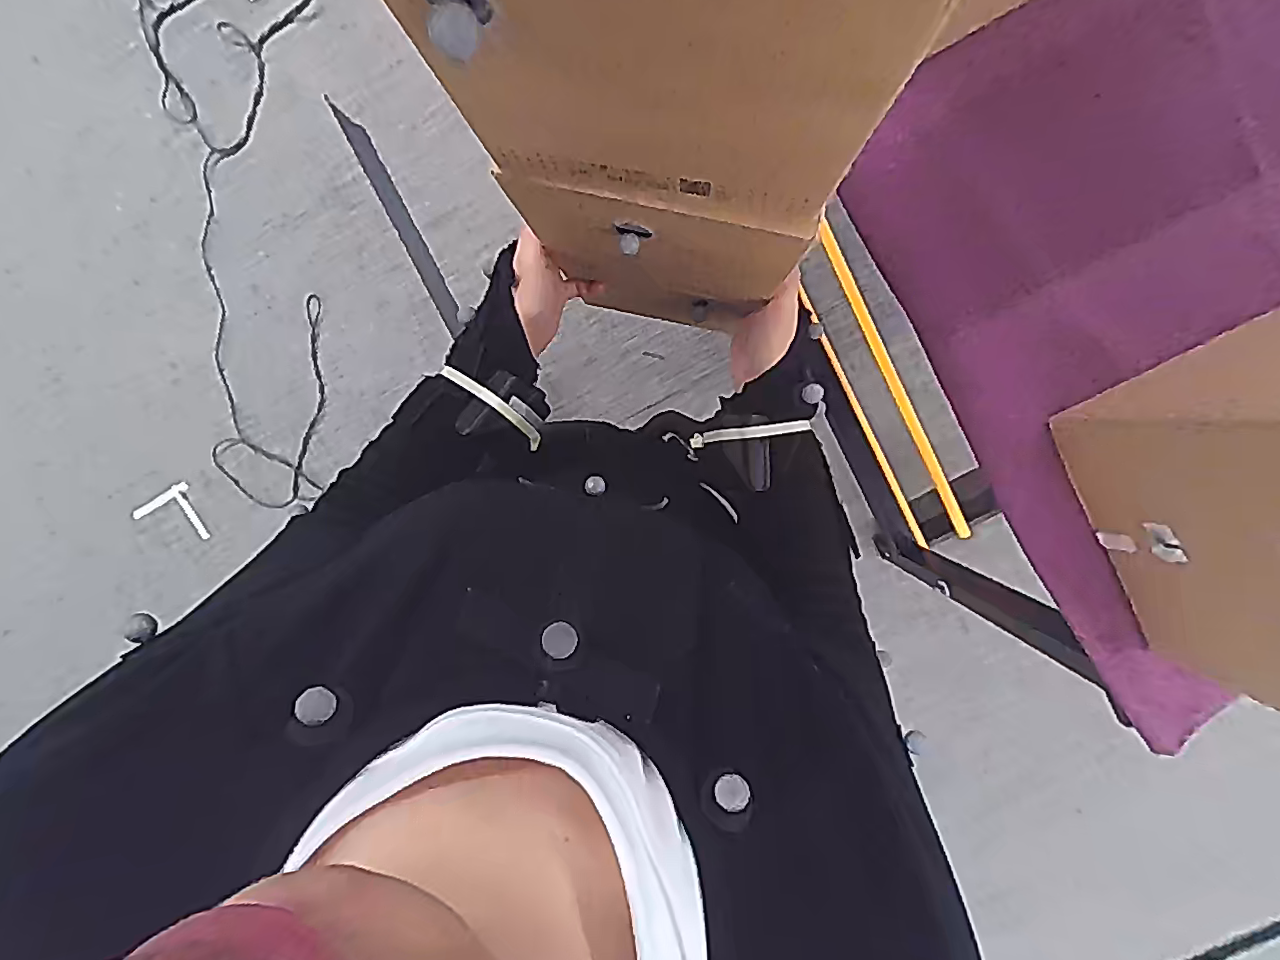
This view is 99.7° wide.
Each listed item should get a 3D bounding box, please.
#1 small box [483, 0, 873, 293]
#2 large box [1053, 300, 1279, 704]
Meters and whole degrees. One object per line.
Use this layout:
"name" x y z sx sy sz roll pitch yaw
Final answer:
"small box" 0.026 -0.231 0.342 0.179 0.176 0.168 13 97 1
"large box" 0.694 -0.012 0.455 0.408 0.320 0.320 -28 96 3
